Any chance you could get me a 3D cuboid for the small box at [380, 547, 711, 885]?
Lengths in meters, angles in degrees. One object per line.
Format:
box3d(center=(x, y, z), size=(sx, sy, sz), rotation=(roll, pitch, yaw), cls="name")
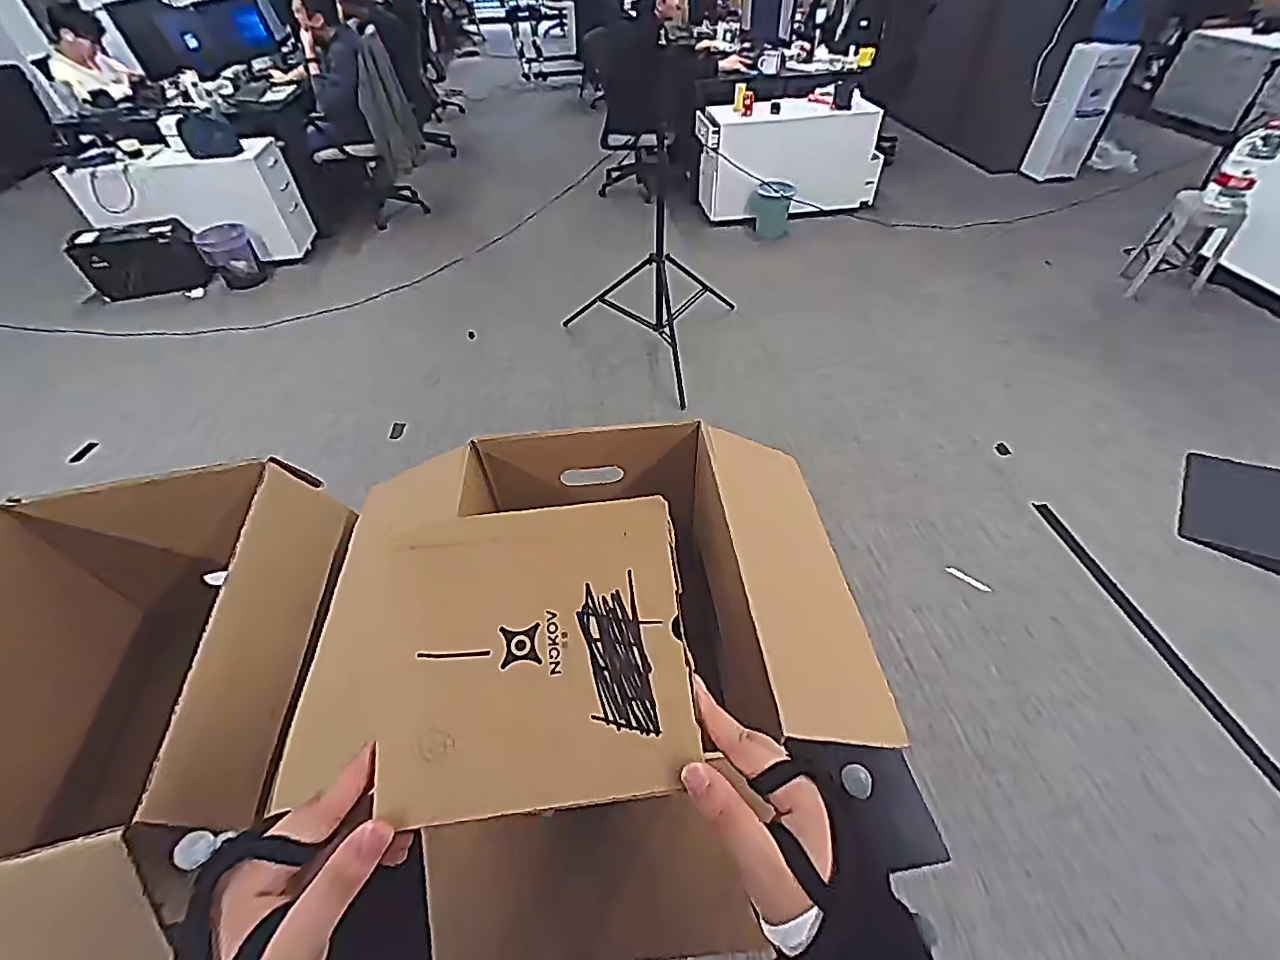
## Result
box3d(center=(-0.059, 0.152, 0.385), size=(0.179, 0.176, 0.168), rotation=(-6, 69, -4), cls="small box")
